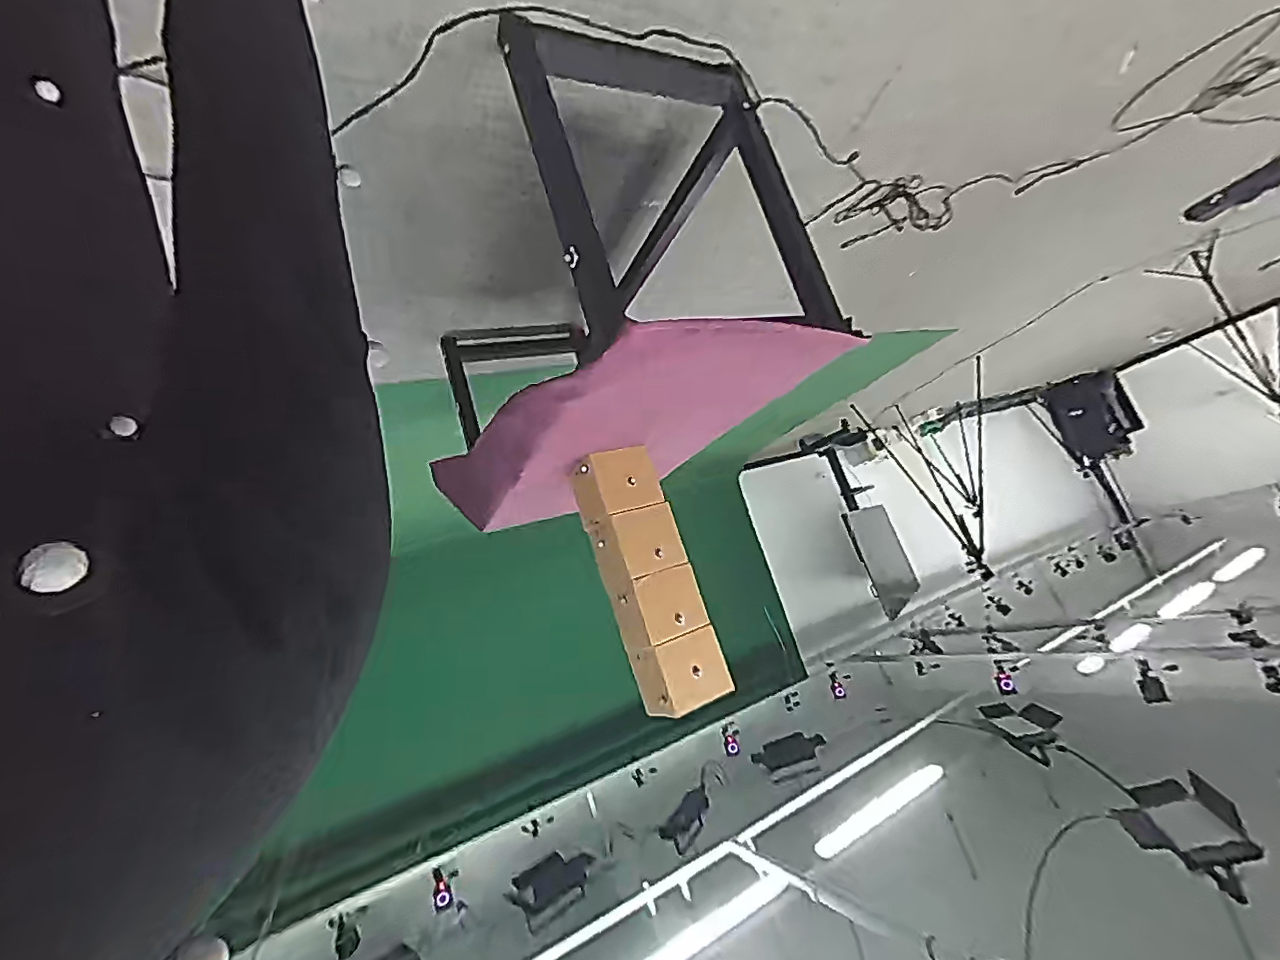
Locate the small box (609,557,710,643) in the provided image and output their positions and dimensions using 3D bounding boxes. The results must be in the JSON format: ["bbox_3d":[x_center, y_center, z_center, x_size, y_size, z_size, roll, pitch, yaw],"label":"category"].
[{"bbox_3d":[0.044,0.306,1.389,0.179,0.176,0.168,-12,167,-29],"label":"small box"}]

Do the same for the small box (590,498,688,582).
[{"bbox_3d":[-0.008,0.154,1.417,0.179,0.176,0.168,-11,167,-29],"label":"small box"}]

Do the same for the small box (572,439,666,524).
[{"bbox_3d":[-0.064,0.002,1.445,0.179,0.176,0.168,-12,168,-29],"label":"small box"}]
